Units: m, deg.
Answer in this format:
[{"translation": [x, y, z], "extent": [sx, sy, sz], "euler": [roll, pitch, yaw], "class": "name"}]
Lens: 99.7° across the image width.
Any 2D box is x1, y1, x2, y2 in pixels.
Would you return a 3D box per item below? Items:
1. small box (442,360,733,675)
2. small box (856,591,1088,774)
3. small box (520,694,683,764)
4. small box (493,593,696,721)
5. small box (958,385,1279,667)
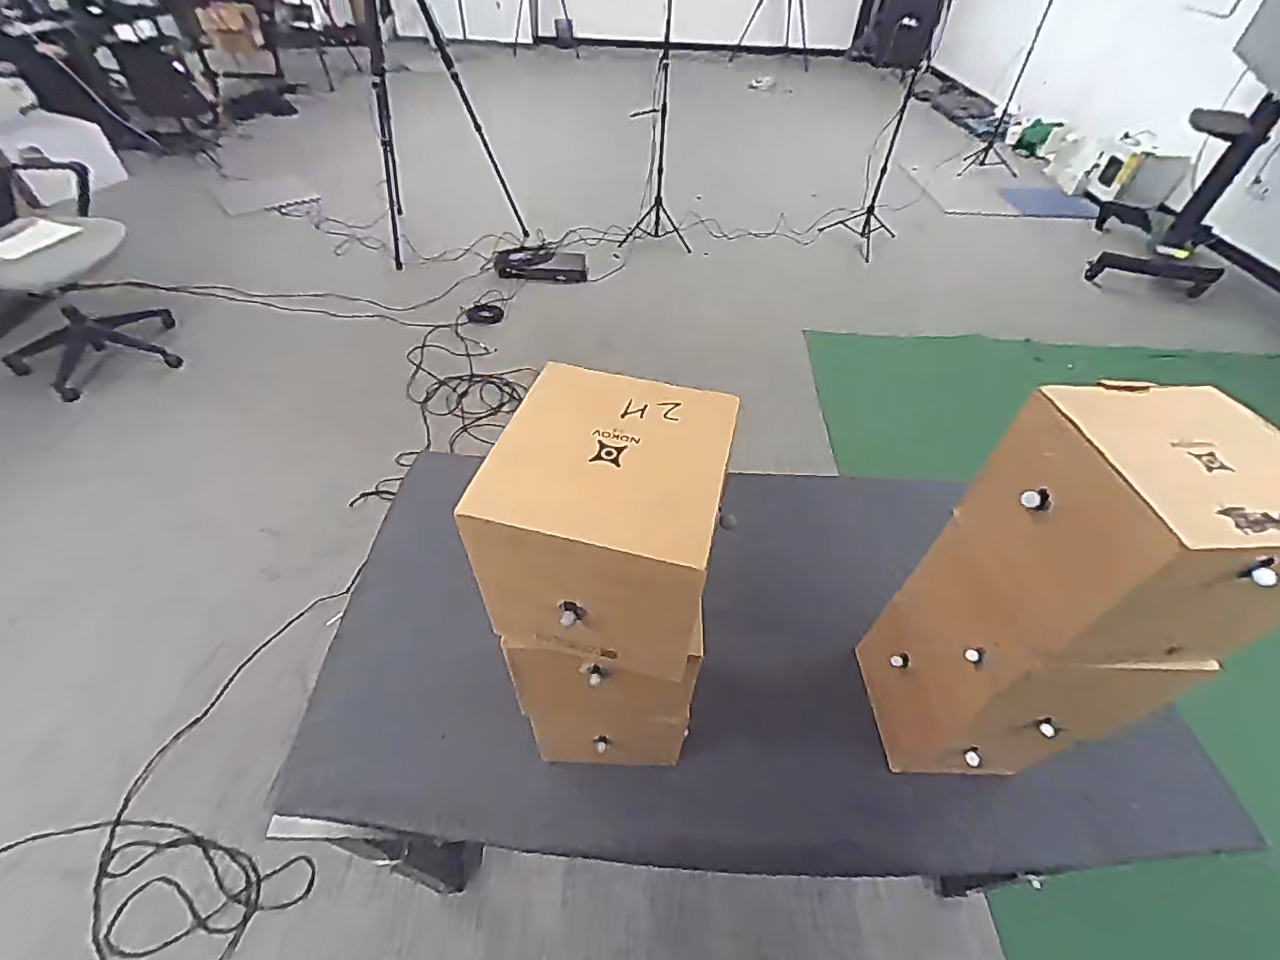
[{"translation": [-0.029, 0.033, 0.442], "extent": [0.168, 0.176, 0.179], "euler": [13, 48, 8], "class": "small box"}, {"translation": [0.403, 0.264, 0.697], "extent": [0.168, 0.176, 0.179], "euler": [2, 46, -1], "class": "small box"}, {"translation": [-0.042, 0.248, 0.688], "extent": [0.179, 0.176, 0.168], "euler": [2, 47, 0], "class": "small box"}, {"translation": [-0.038, 0.139, 0.567], "extent": [0.179, 0.176, 0.168], "euler": [4, 48, -1], "class": "small box"}, {"translation": [0.414, 0.038, 0.458], "extent": [0.168, 0.176, 0.179], "euler": [-1, 46, -3], "class": "small box"}]
